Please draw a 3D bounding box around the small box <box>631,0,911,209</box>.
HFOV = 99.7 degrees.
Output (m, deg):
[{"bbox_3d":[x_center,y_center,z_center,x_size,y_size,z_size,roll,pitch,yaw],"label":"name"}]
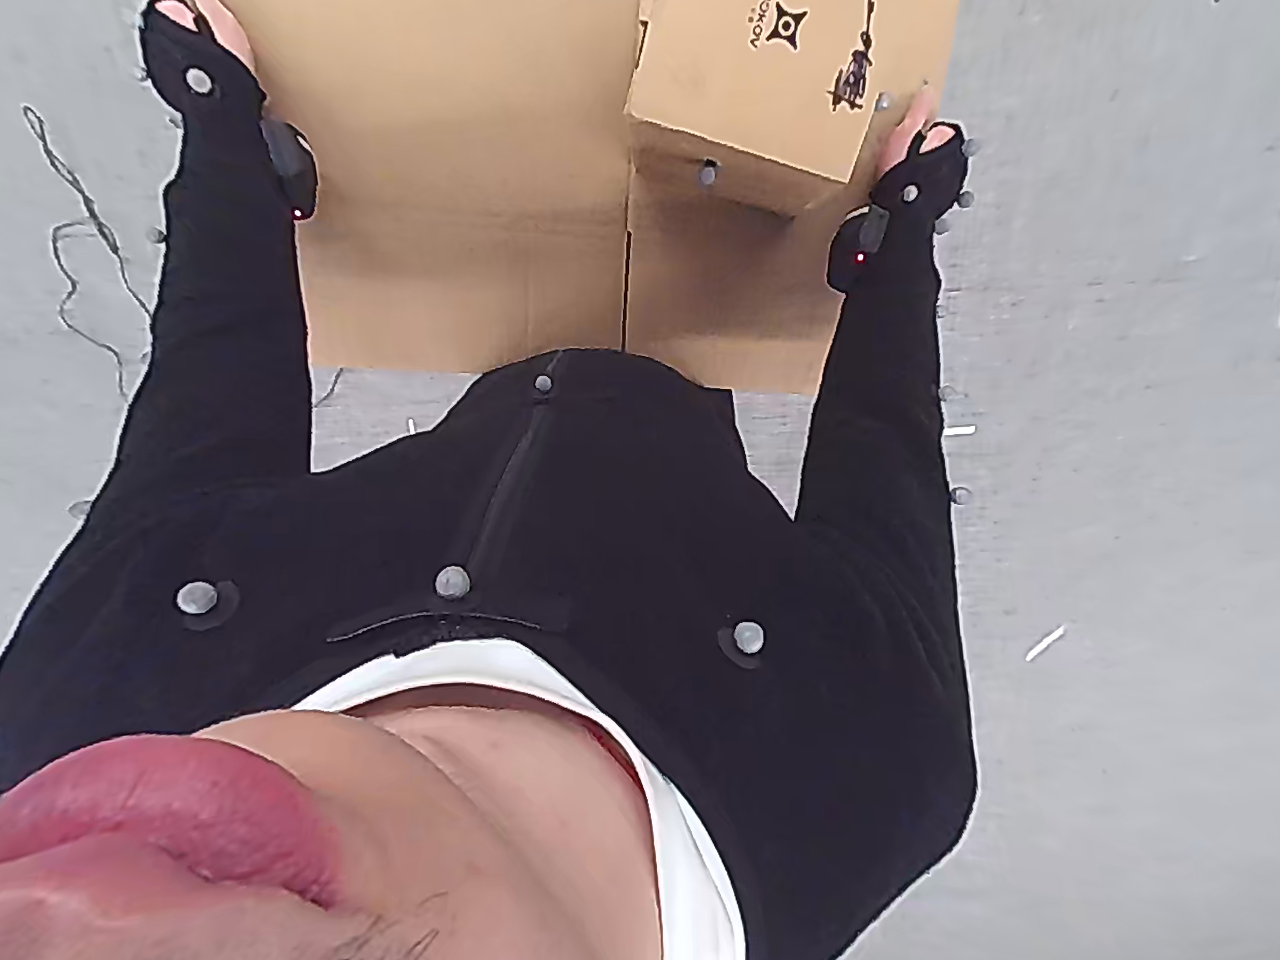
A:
[{"bbox_3d":[0.102,-0.350,0.461,0.179,0.176,0.168,16,108,-2],"label":"small box"}]
